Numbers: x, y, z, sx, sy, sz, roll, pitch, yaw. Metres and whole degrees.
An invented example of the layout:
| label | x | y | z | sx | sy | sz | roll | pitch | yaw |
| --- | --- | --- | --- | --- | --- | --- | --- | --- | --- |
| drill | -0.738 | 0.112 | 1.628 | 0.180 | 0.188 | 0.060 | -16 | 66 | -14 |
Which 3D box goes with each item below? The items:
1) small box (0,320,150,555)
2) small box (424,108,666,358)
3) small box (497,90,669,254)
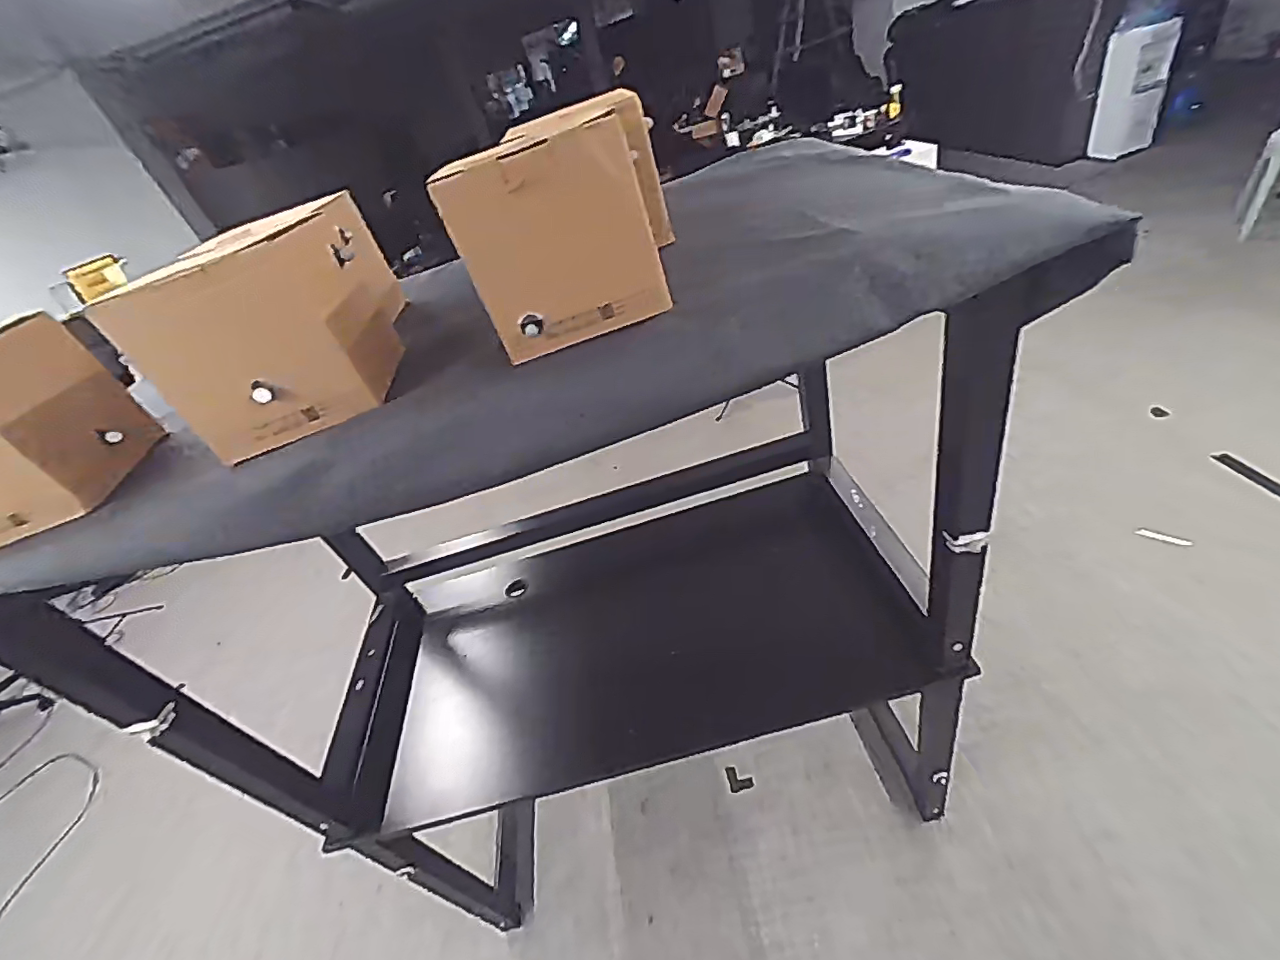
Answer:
| label | x | y | z | sx | sy | sz | roll | pitch | yaw |
| --- | --- | --- | --- | --- | --- | --- | --- | --- | --- |
| small box | -0.670 | -0.034 | 0.553 | 0.168 | 0.176 | 0.179 | -22 | 38 | -2 |
| small box | -0.083 | -0.239 | 0.535 | 0.168 | 0.176 | 0.179 | -19 | 36 | 3 |
| small box | -0.070 | -0.386 | 0.711 | 0.168 | 0.176 | 0.179 | -18 | 39 | 4 |
